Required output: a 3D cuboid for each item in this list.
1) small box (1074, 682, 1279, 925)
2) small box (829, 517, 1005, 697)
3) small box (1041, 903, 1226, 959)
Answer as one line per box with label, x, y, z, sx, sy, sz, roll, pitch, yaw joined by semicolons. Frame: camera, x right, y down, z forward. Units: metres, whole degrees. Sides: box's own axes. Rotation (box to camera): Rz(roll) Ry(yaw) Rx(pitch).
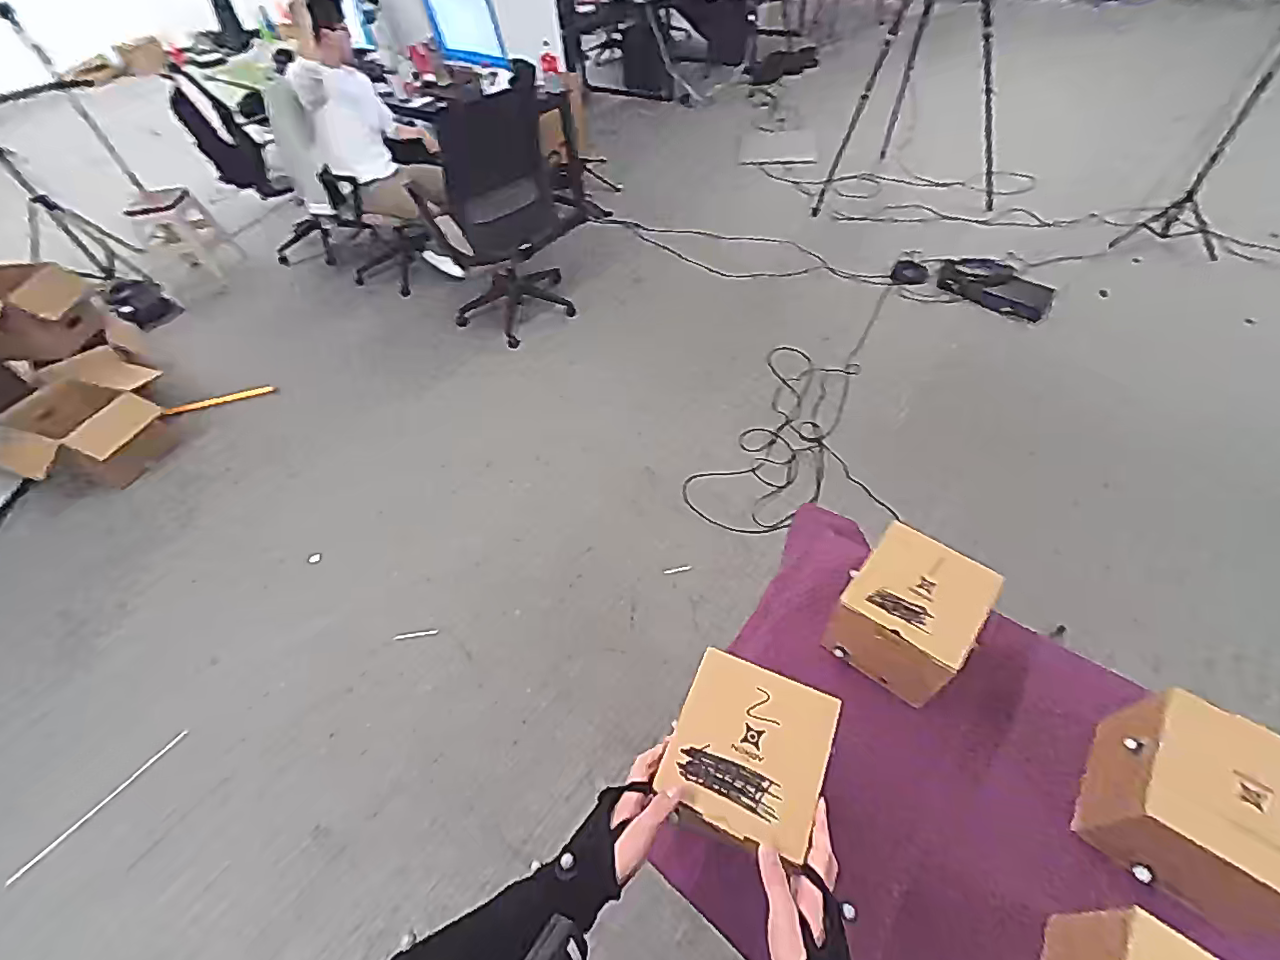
small box;0.671;0.386;0.650;0.168;0.176;0.179;30;61;28
small box;0.410;0.198;0.829;0.168;0.176;0.179;33;62;27
small box;0.509;0.559;0.525;0.168;0.176;0.179;29;59;26
